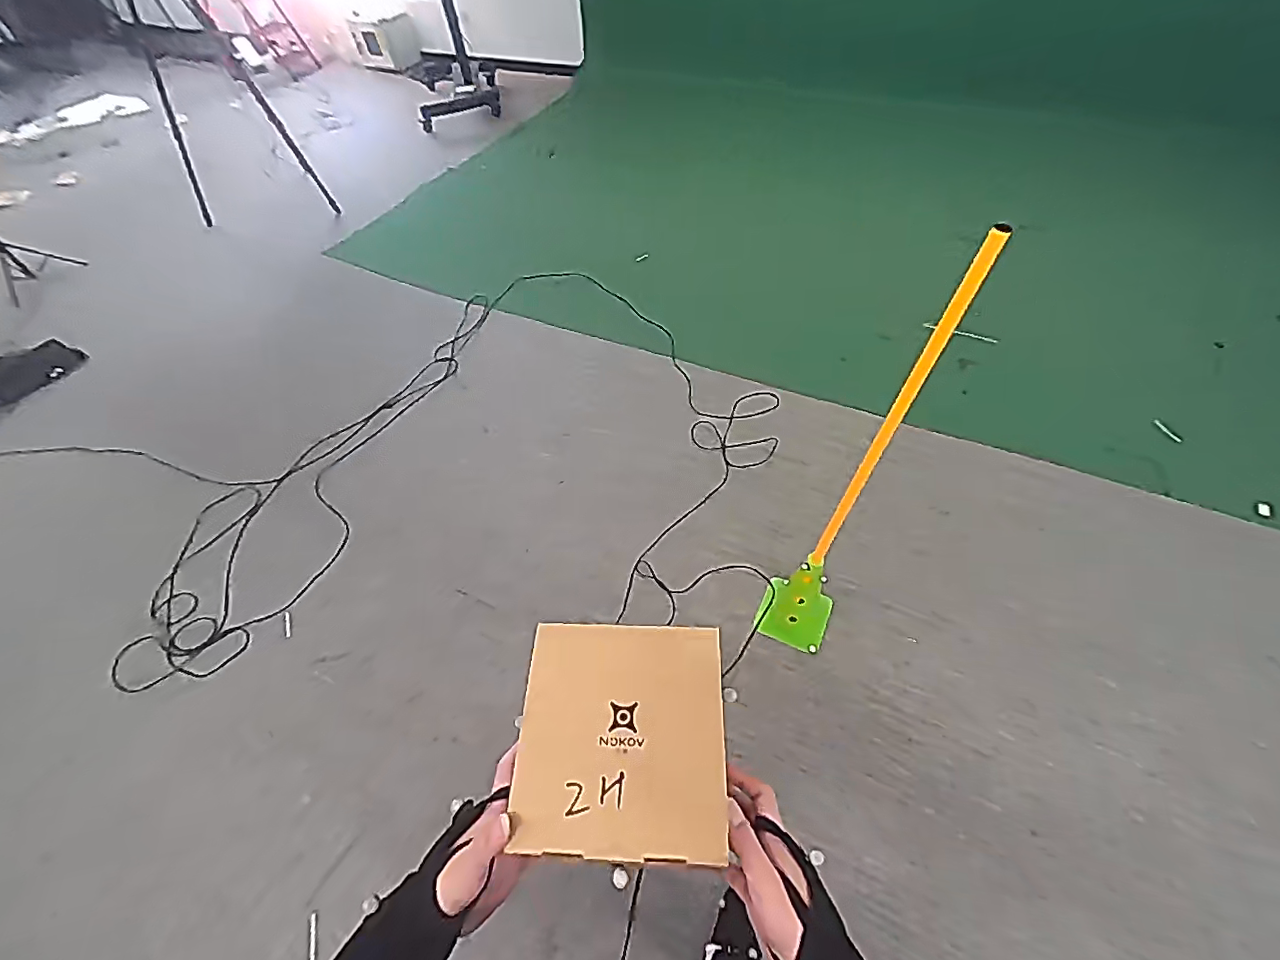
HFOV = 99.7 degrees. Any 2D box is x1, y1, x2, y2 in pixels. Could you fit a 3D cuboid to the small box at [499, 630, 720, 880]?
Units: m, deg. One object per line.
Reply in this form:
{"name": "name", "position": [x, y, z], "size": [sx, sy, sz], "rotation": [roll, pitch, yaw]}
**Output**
{"name": "small box", "position": [-0.016, 0.258, 0.505], "size": [0.168, 0.176, 0.179], "rotation": [2, 54, 4]}

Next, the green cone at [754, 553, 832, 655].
{"name": "green cone", "position": [0.460, 0.312, 1.531], "size": [0.202, 0.368, 0.200], "rotation": [20, 56, 19]}
